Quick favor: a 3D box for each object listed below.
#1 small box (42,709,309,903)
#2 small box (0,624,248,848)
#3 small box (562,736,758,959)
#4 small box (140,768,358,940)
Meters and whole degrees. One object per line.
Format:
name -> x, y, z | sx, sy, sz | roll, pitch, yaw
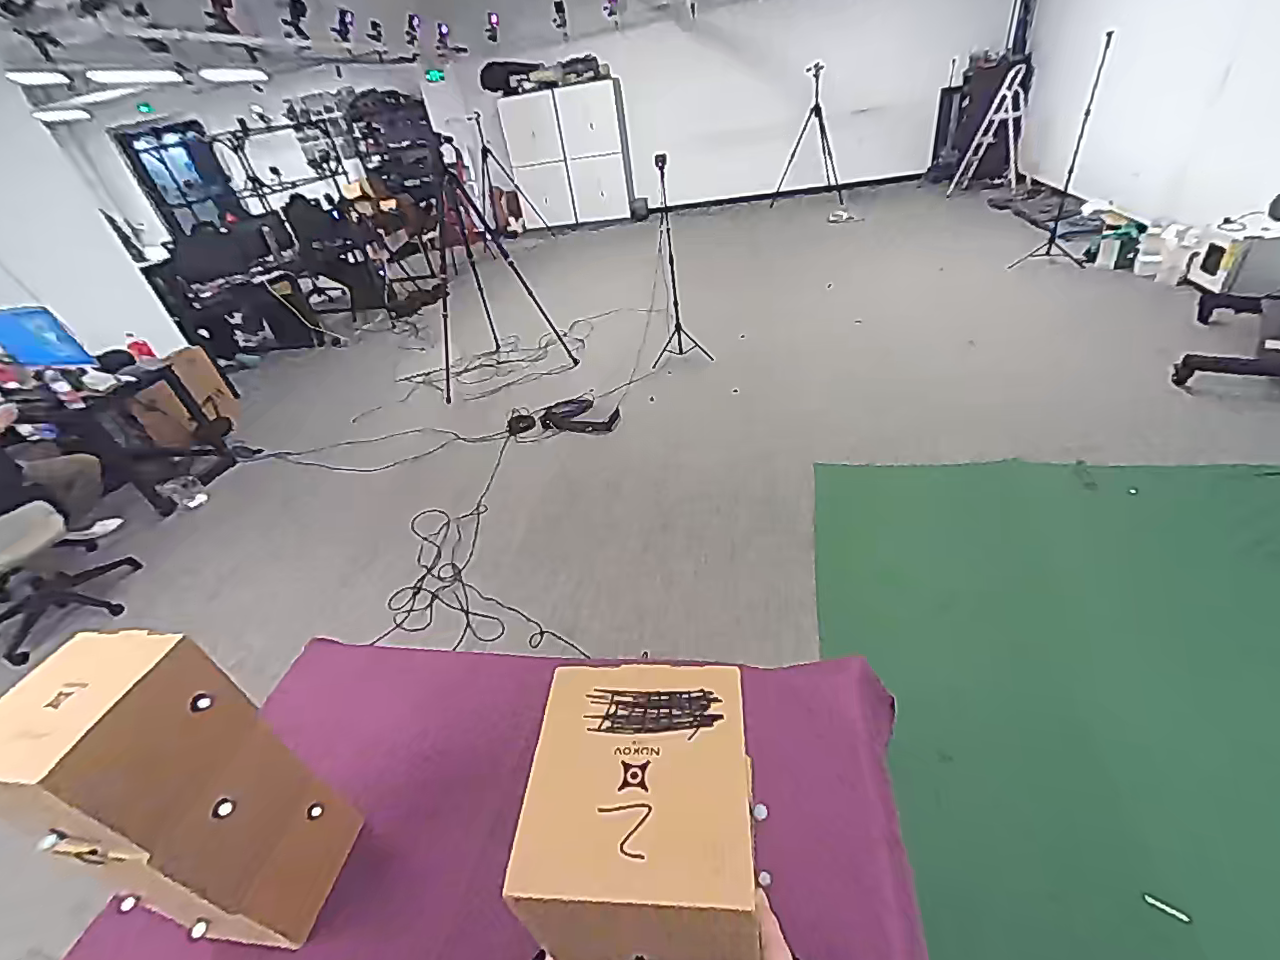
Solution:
small box -> -0.592, 0.429, 0.723 | 0.168, 0.176, 0.179 | -2, 35, 12
small box -> -0.613, 0.293, 0.635 | 0.168, 0.176, 0.179 | -2, 36, 12
small box -> 0.036, 0.397, 0.559 | 0.168, 0.176, 0.179 | -1, 35, 12
small box -> -0.568, 0.560, 0.819 | 0.168, 0.176, 0.179 | -3, 36, 11
